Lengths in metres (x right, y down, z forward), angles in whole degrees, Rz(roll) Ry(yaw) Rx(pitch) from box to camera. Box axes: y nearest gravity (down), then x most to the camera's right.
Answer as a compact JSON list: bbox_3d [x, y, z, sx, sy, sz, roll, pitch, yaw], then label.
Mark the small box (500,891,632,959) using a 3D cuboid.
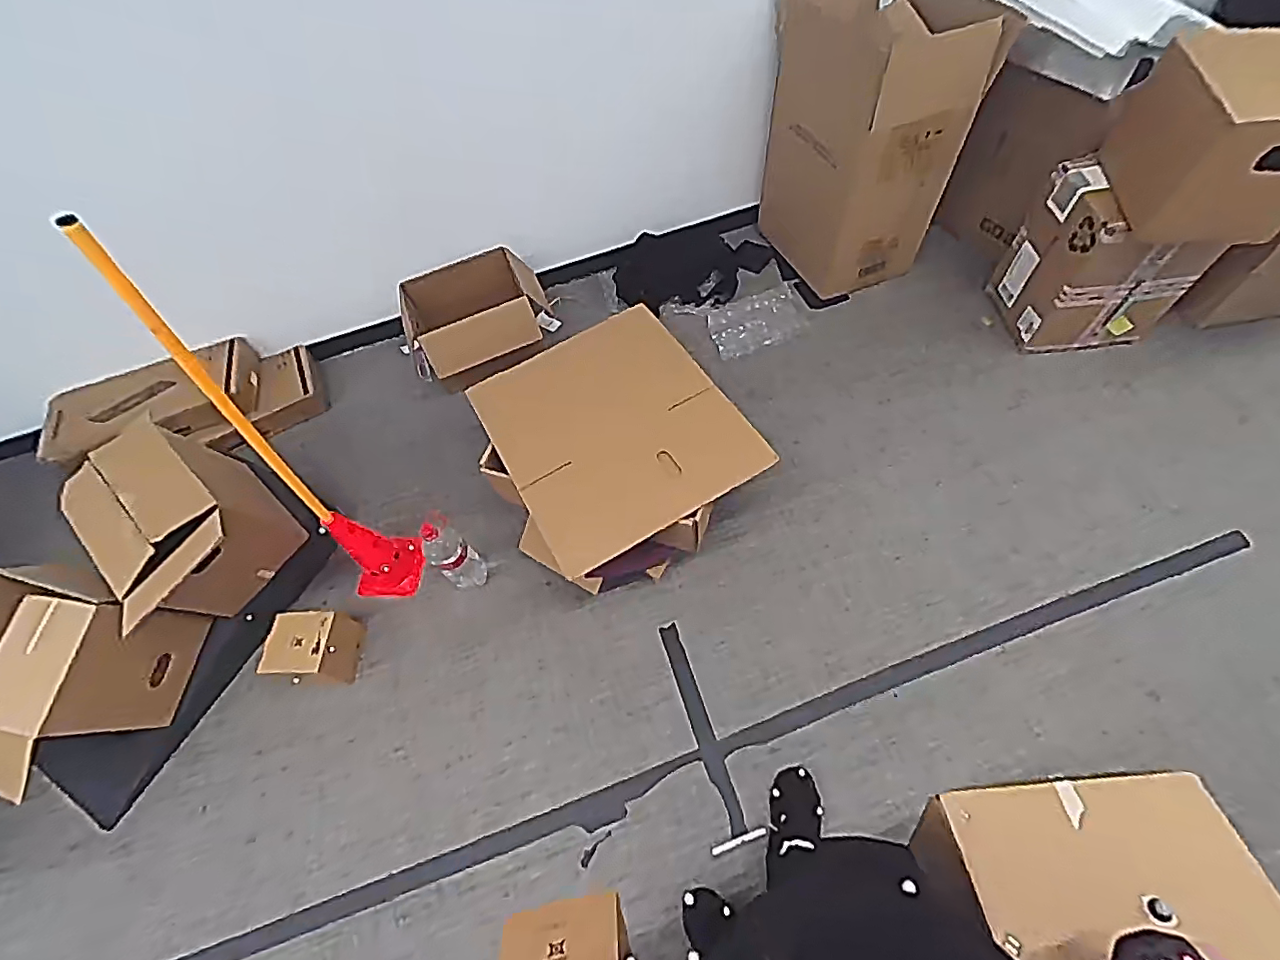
[{"bbox_3d":[-0.089,0.705,0.711,0.168,0.179,0.176,-13,90,-4],"label":"small box"}]
